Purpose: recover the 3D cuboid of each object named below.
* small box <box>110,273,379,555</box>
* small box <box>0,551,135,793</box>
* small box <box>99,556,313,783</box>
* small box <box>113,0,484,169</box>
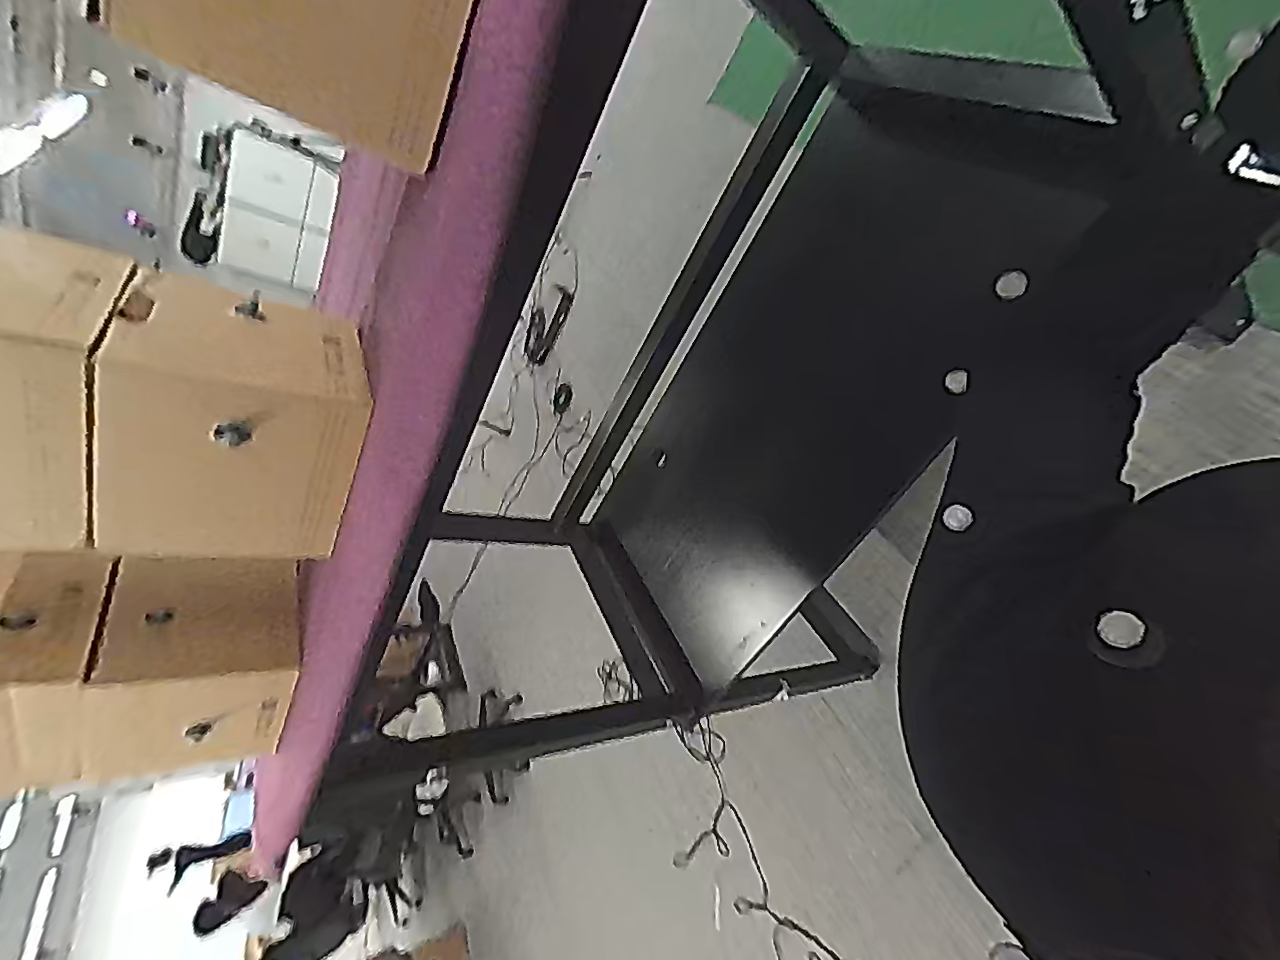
[{"bbox_3d":[-0.342,-0.050,0.485,0.168,0.176,0.179,55,126,42],"label":"small box"},{"bbox_3d":[-0.612,0.185,0.519,0.168,0.176,0.179,53,123,41],"label":"small box"},{"bbox_3d":[-0.486,0.203,0.620,0.168,0.176,0.179,-59,44,25],"label":"small box"},{"bbox_3d":[-0.199,-0.335,0.343,0.179,0.176,0.168,-59,42,28],"label":"small box"}]
